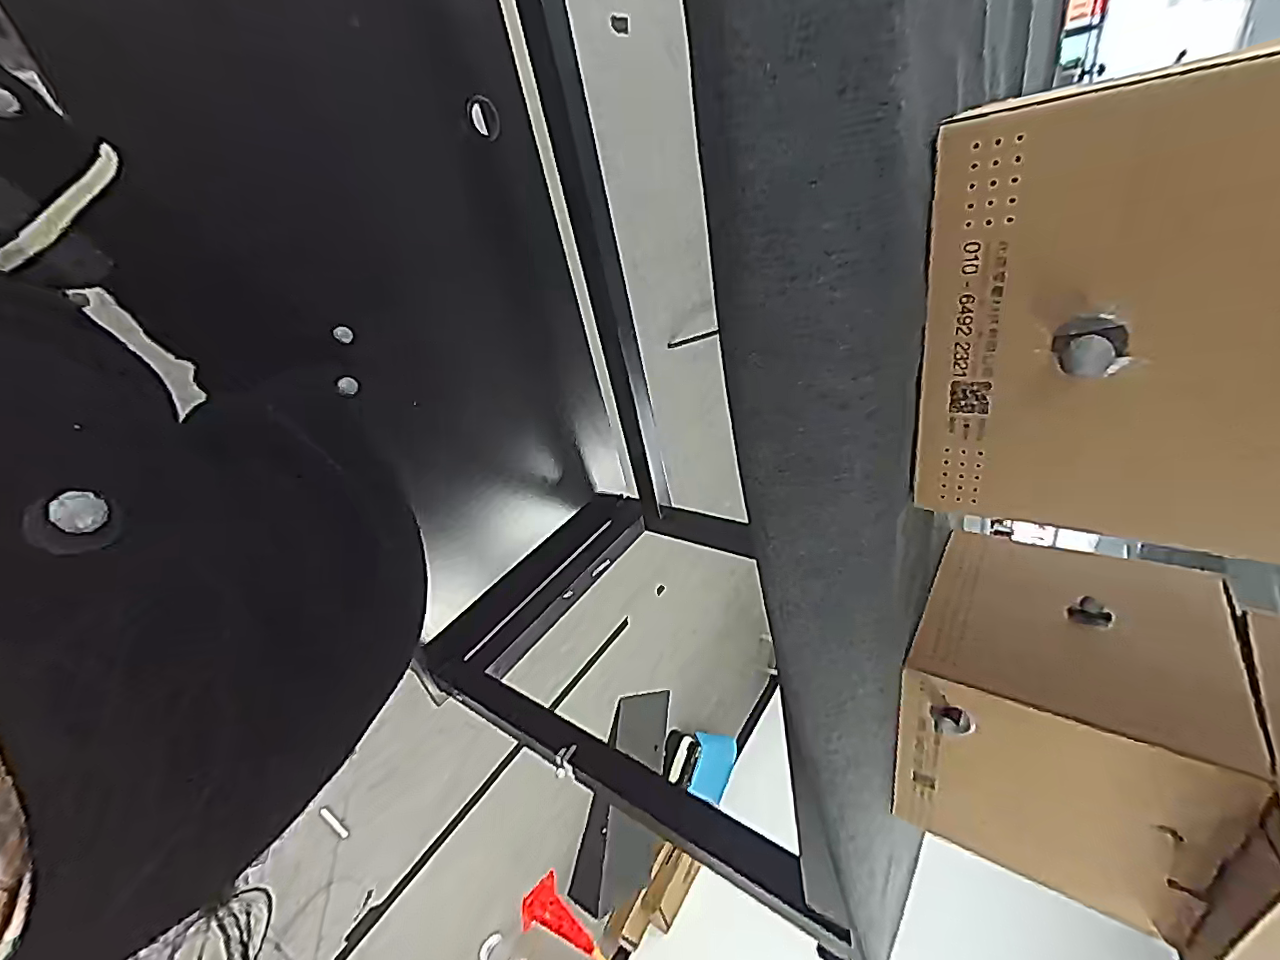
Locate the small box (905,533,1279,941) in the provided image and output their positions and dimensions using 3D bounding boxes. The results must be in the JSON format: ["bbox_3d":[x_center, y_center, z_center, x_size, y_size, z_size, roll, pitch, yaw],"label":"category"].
[{"bbox_3d":[0.304,0.161,0.397,0.179,0.176,0.168,-39,129,-44],"label":"small box"}]

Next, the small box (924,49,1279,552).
[{"bbox_3d":[0.242,-0.089,0.244,0.179,0.176,0.168,-42,130,-42],"label":"small box"}]

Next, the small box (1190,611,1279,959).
[{"bbox_3d":[0.416,0.201,0.282,0.179,0.176,0.168,-45,133,-39],"label":"small box"}]
